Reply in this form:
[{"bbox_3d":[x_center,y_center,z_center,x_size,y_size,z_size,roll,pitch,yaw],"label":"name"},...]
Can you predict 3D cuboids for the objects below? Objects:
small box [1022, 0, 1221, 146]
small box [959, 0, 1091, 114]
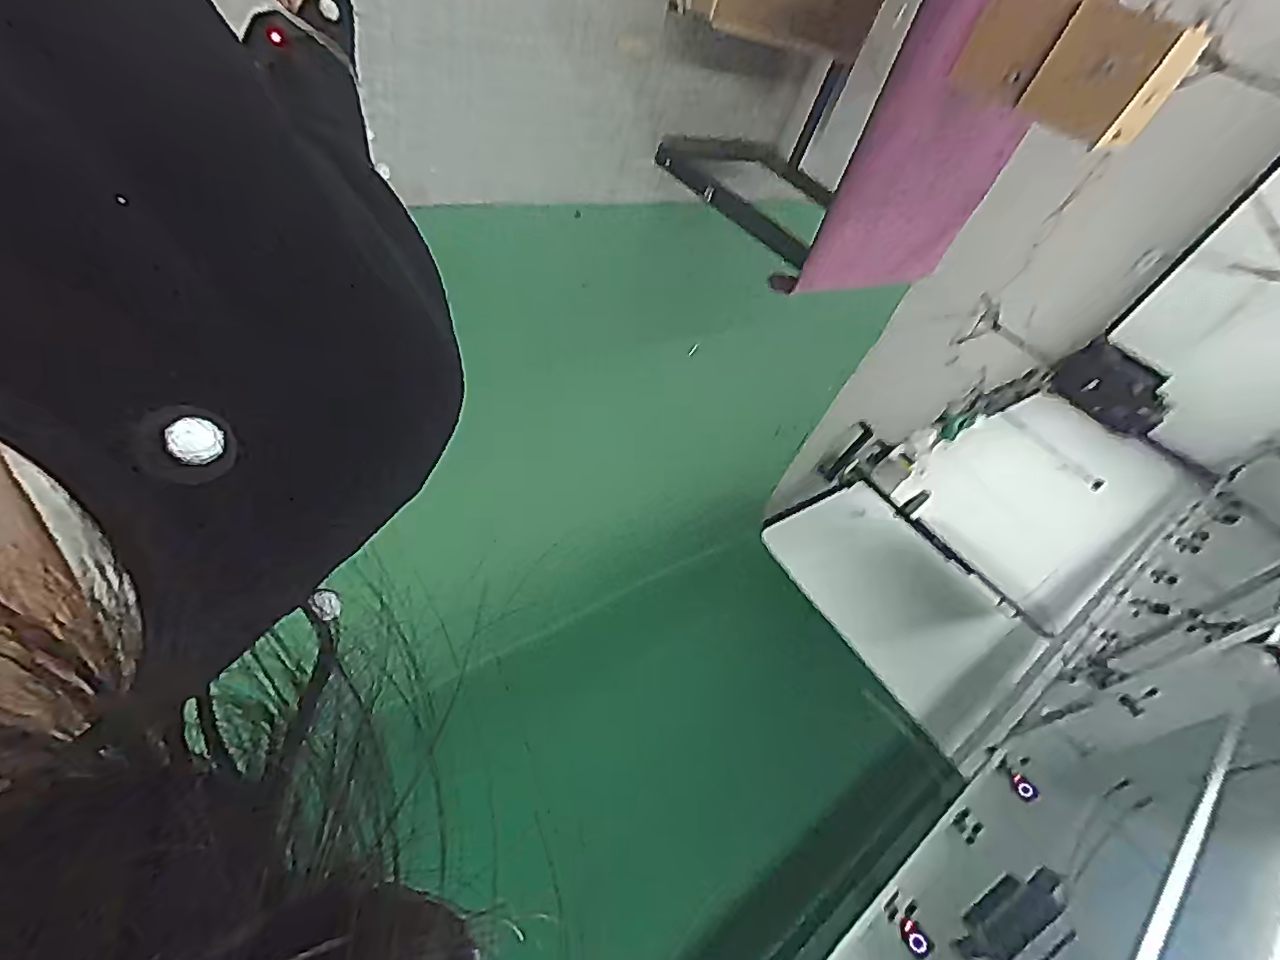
[{"bbox_3d":[0.830,-0.713,0.947,0.168,0.176,0.179,-21,148,-31],"label":"small box"},{"bbox_3d":[0.752,-0.830,1.033,0.168,0.176,0.179,-21,148,-32],"label":"small box"}]
